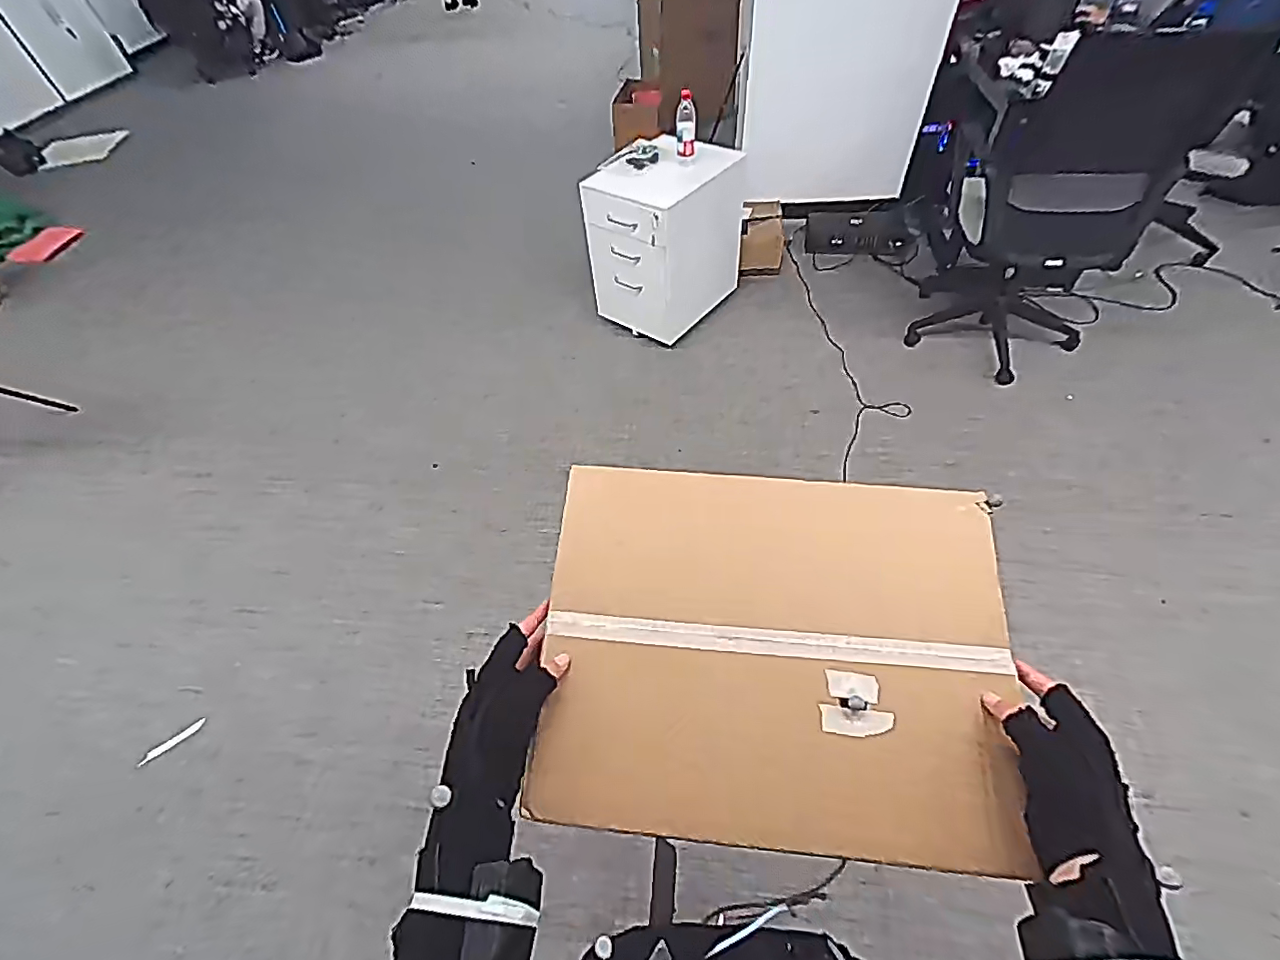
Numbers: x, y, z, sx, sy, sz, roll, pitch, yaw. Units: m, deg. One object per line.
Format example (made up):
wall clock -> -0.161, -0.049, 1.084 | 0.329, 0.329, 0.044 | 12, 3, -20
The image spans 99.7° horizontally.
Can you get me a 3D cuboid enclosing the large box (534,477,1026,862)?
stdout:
large box -> 0.123, 0.205, 0.629 | 0.408, 0.320, 0.320 | 4, 68, 4
